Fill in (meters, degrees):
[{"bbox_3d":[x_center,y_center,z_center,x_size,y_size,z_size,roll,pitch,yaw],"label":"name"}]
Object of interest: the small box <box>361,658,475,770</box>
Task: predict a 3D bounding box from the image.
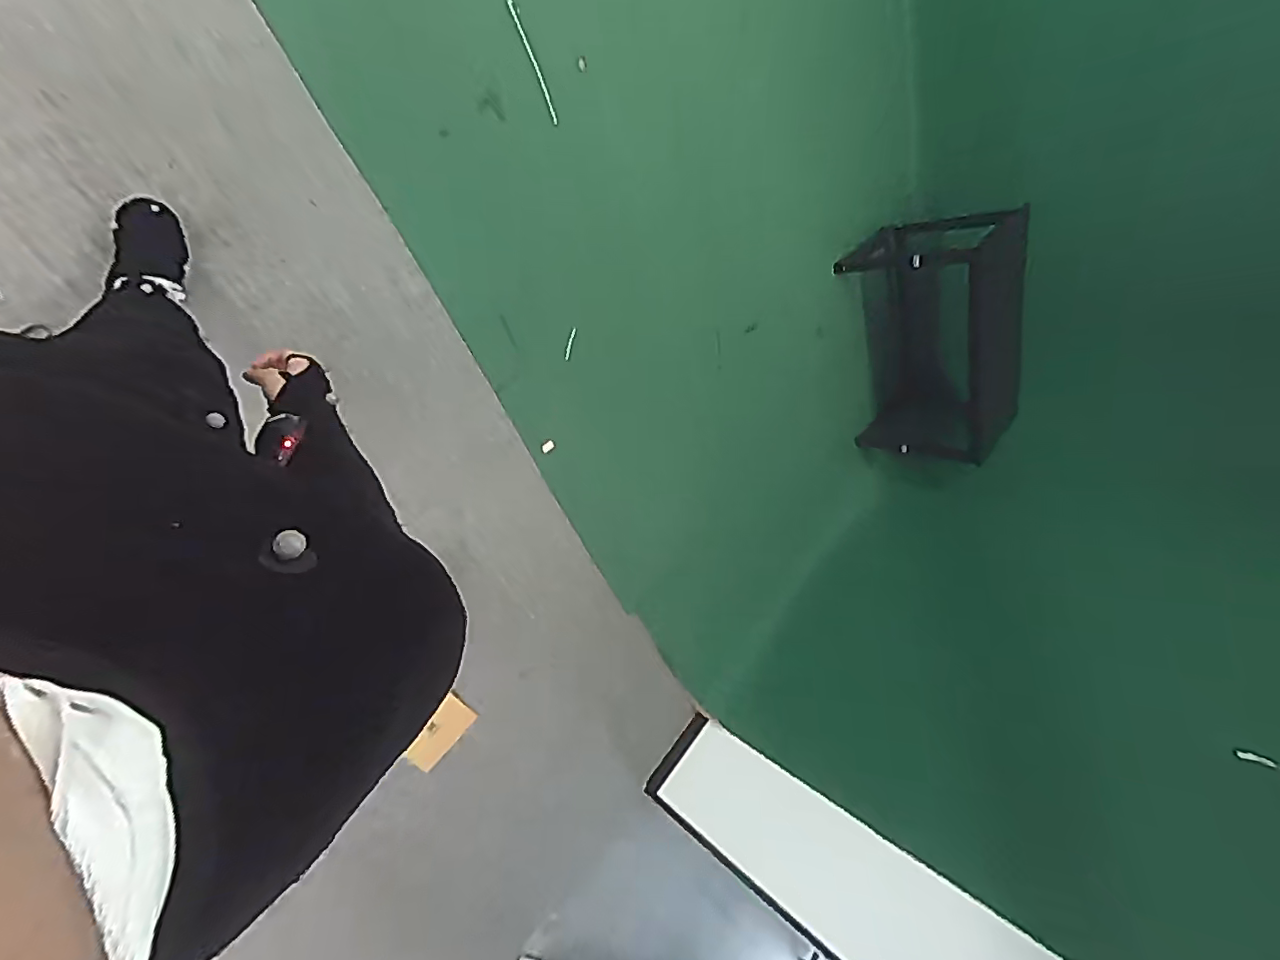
[{"bbox_3d":[-0.555,0.571,1.346,0.168,0.176,0.179,-46,130,-24],"label":"small box"}]
